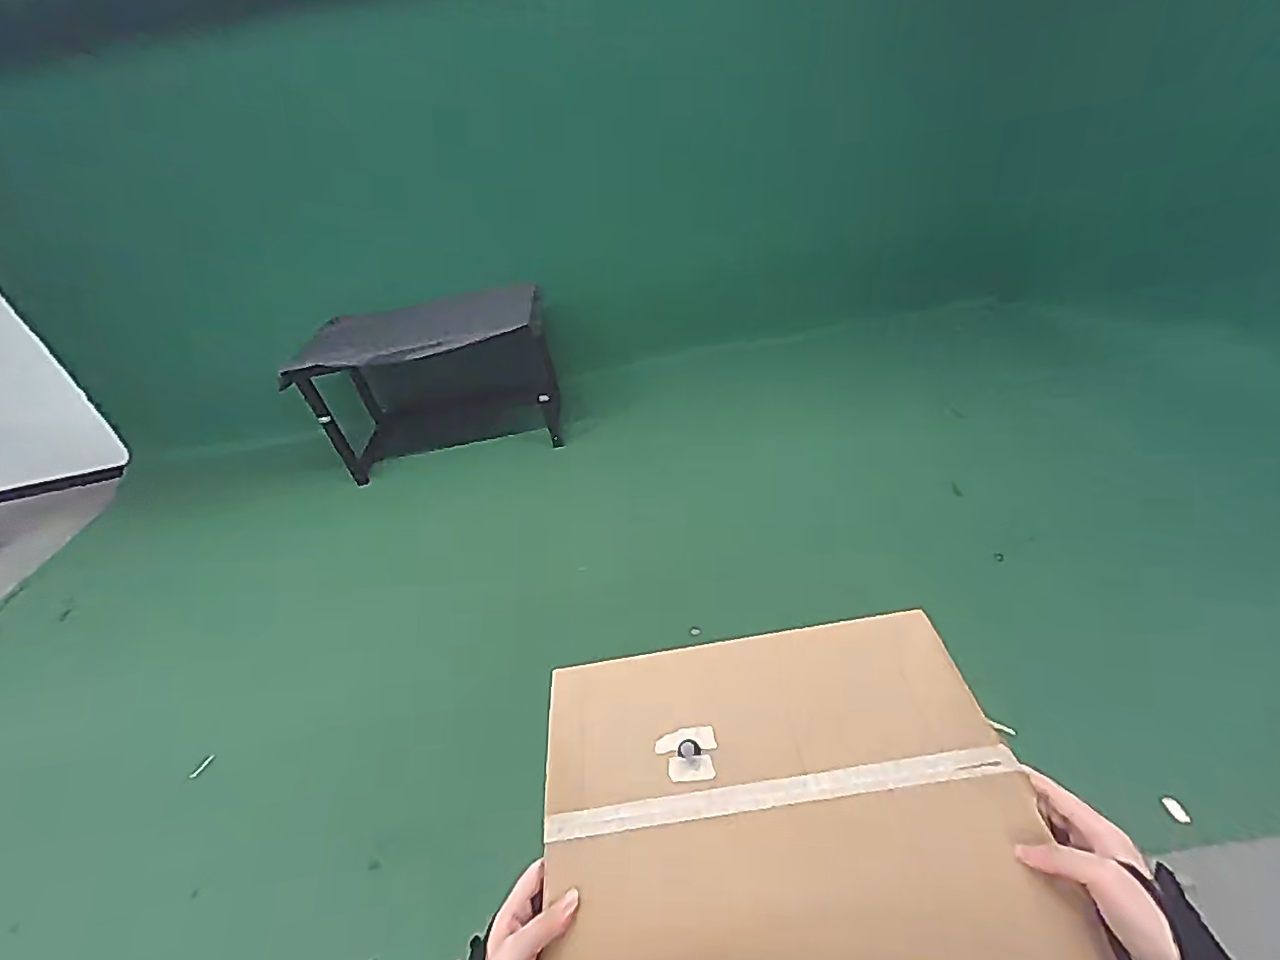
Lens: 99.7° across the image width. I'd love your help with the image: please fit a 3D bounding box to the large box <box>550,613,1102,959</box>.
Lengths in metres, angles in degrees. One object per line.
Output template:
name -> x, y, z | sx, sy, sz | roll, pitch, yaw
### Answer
large box -> 0.144, 0.392, 0.582 | 0.408, 0.320, 0.320 | -12, 40, 4
